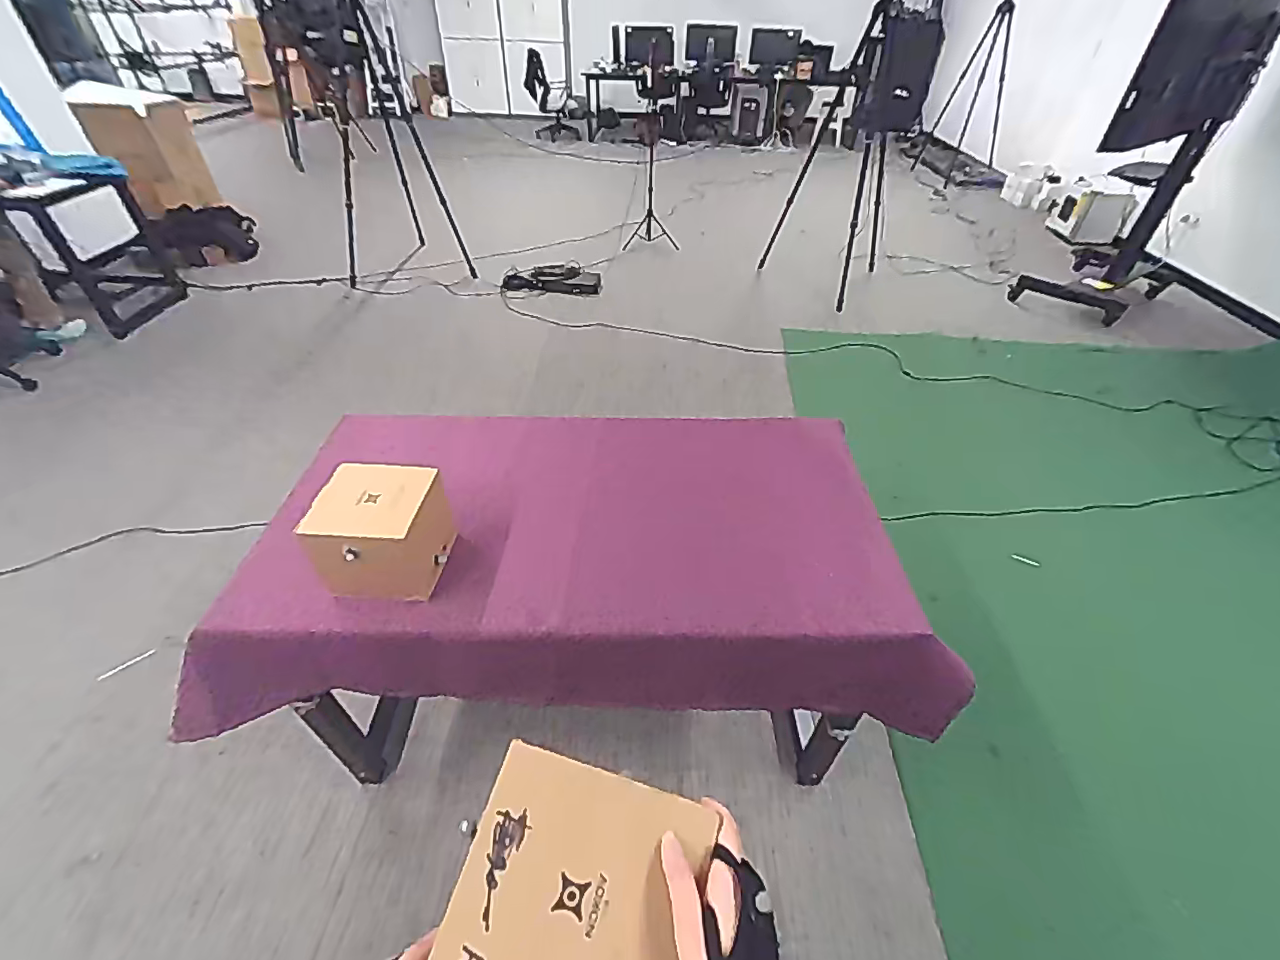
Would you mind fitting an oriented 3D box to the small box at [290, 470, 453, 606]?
[{"bbox_3d":[-0.445,0.101,0.930,0.179,0.176,0.168,4,42,1],"label":"small box"}]
